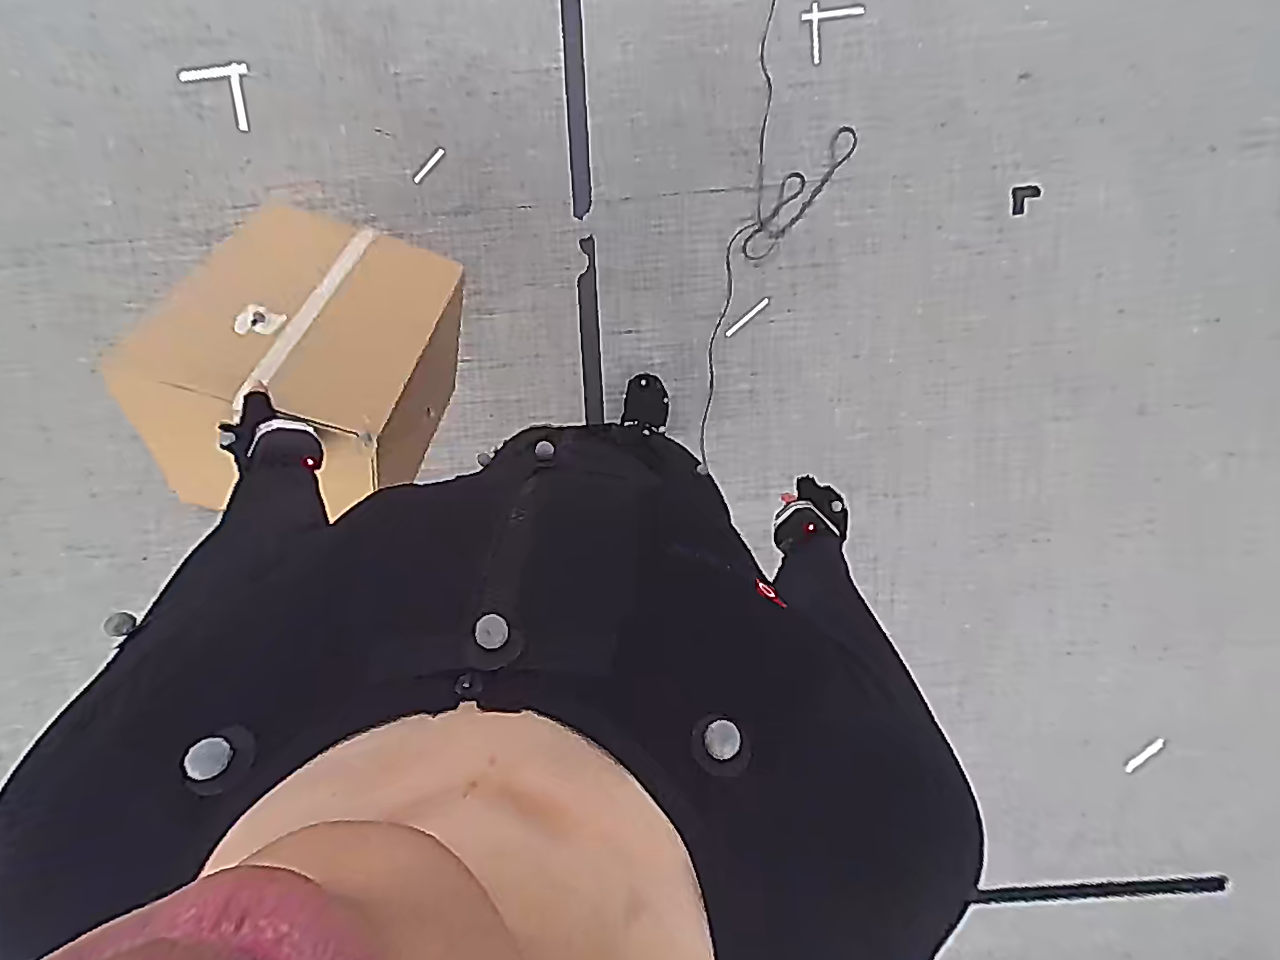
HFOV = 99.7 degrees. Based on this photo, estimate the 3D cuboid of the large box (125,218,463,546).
[{"bbox_3d":[-0.517,-0.158,0.920,0.320,0.408,0.320,15,142,-10],"label":"large box"}]
